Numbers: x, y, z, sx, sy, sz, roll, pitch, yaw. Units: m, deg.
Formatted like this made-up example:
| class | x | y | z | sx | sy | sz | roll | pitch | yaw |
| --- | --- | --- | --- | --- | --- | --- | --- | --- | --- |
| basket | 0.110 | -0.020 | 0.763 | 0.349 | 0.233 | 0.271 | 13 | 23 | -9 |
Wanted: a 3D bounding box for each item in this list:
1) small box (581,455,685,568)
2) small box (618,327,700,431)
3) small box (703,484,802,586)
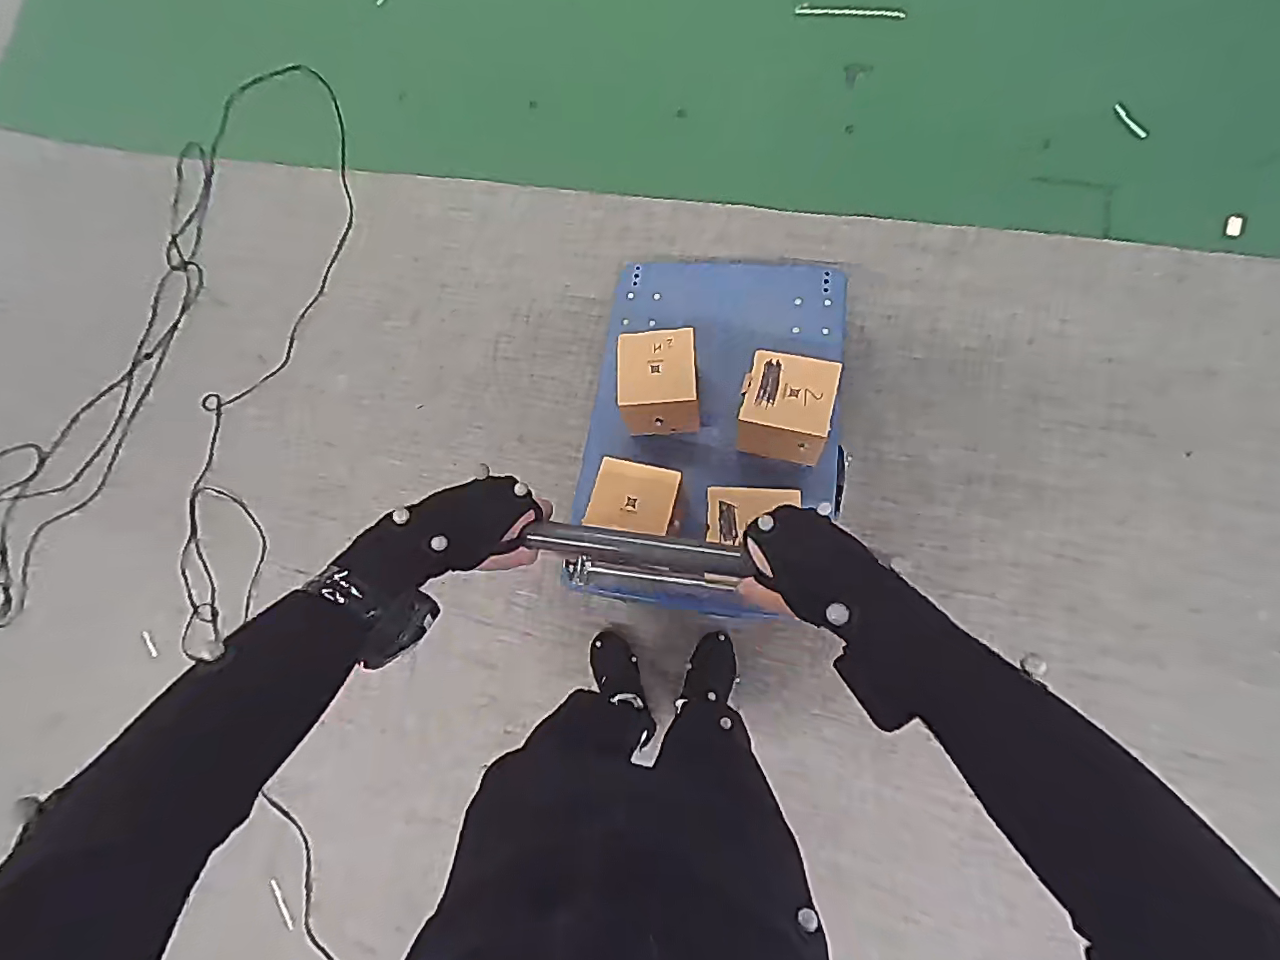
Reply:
| class | x | y | z | sx | sy | sz | roll | pitch | yaw |
| --- | --- | --- | --- | --- | --- | --- | --- | --- | --- |
| small box | -0.005 | 0.070 | 1.128 | 0.168 | 0.176 | 0.179 | 13 | 74 | 13 |
| small box | 0.048 | -0.217 | 1.215 | 0.168 | 0.176 | 0.179 | -2 | 71 | 8 |
| small box | 0.221 | 0.115 | 1.073 | 0.179 | 0.176 | 0.168 | 3 | 72 | 10 |
